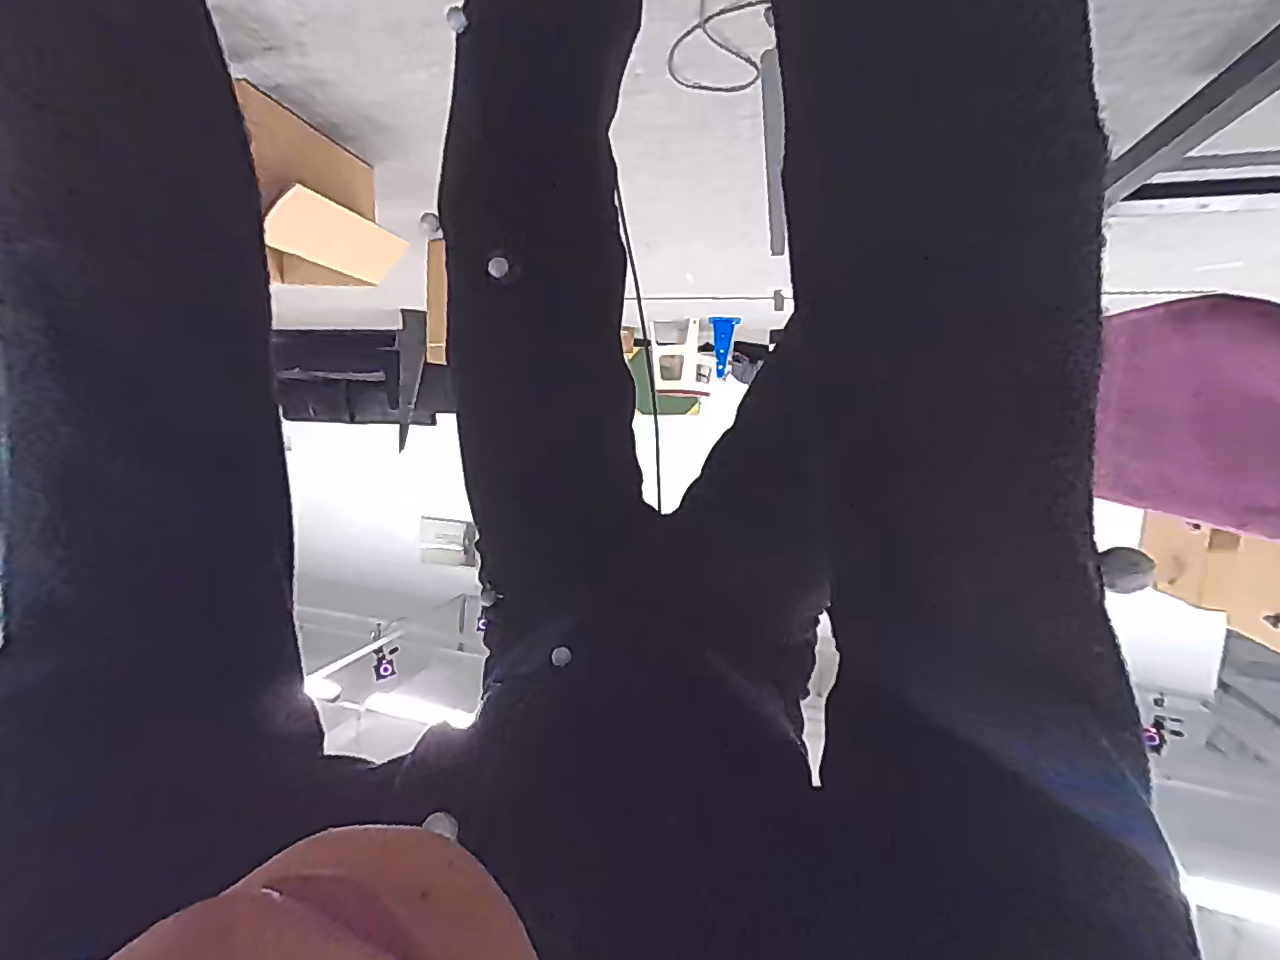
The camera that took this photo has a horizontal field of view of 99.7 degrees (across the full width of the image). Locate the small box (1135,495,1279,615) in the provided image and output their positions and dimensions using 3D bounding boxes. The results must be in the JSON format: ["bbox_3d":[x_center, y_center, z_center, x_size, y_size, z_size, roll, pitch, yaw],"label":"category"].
[{"bbox_3d":[1.023,0.122,0.936,0.179,0.176,0.168,4,-172,13],"label":"small box"}]
